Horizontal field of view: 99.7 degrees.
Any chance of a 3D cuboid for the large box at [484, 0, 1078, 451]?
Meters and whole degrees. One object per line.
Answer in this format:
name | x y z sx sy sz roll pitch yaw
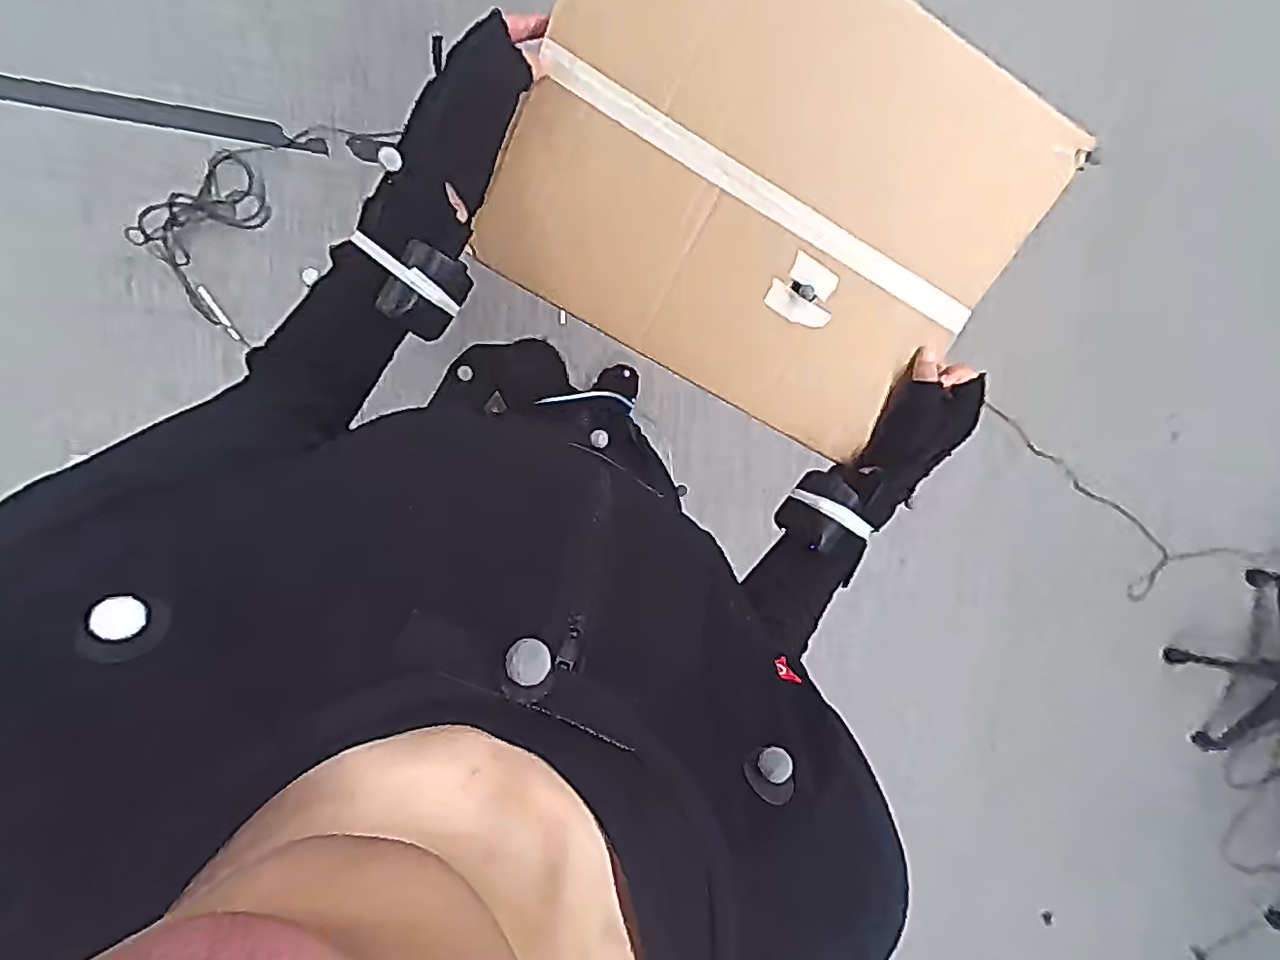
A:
large box | 0.107 -0.290 0.586 0.408 0.320 0.320 27 110 -10
